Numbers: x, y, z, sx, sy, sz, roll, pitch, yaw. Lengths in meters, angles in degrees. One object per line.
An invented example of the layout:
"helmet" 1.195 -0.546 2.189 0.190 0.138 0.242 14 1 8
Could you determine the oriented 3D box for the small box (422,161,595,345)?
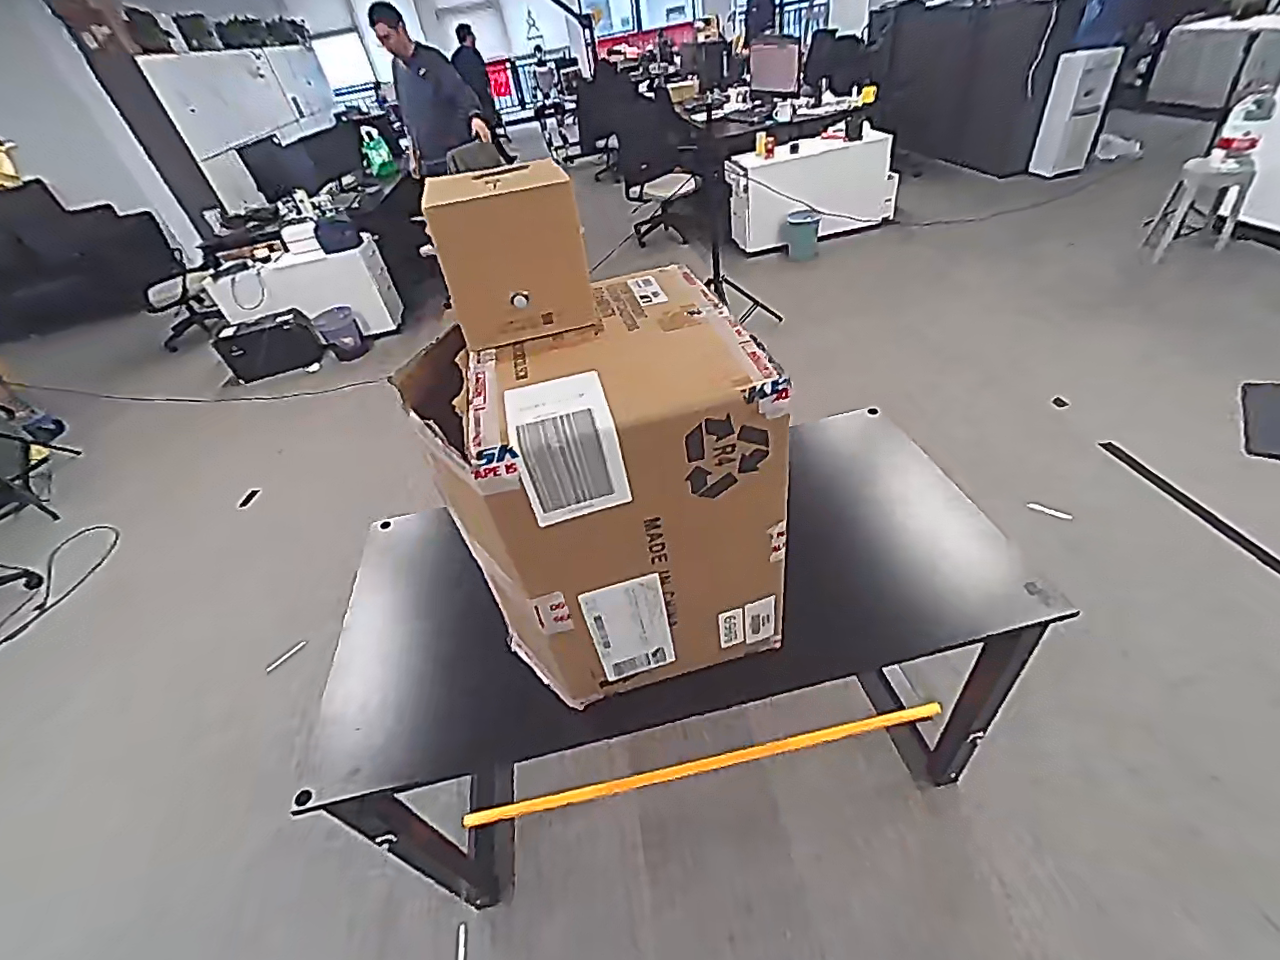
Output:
"small box" -0.163 -0.293 0.694 0.168 0.176 0.179 -15 39 -7
